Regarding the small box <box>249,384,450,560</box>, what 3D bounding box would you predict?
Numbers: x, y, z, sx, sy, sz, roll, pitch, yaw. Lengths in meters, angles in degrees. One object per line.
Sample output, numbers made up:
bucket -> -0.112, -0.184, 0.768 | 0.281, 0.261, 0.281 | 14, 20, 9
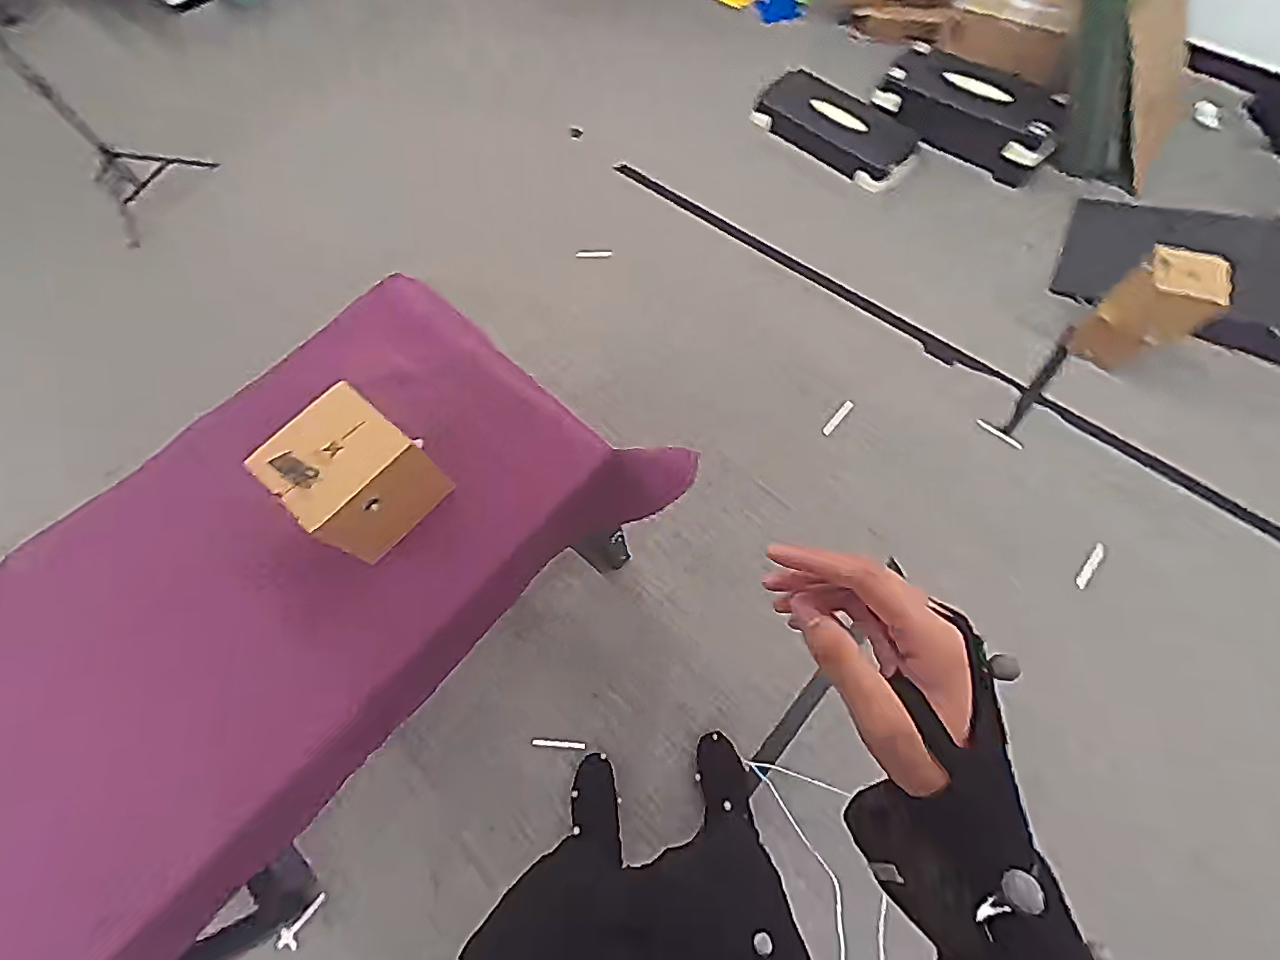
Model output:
small box -> -0.425, -0.004, 0.822 | 0.168, 0.176, 0.179 | 38, 73, 17
